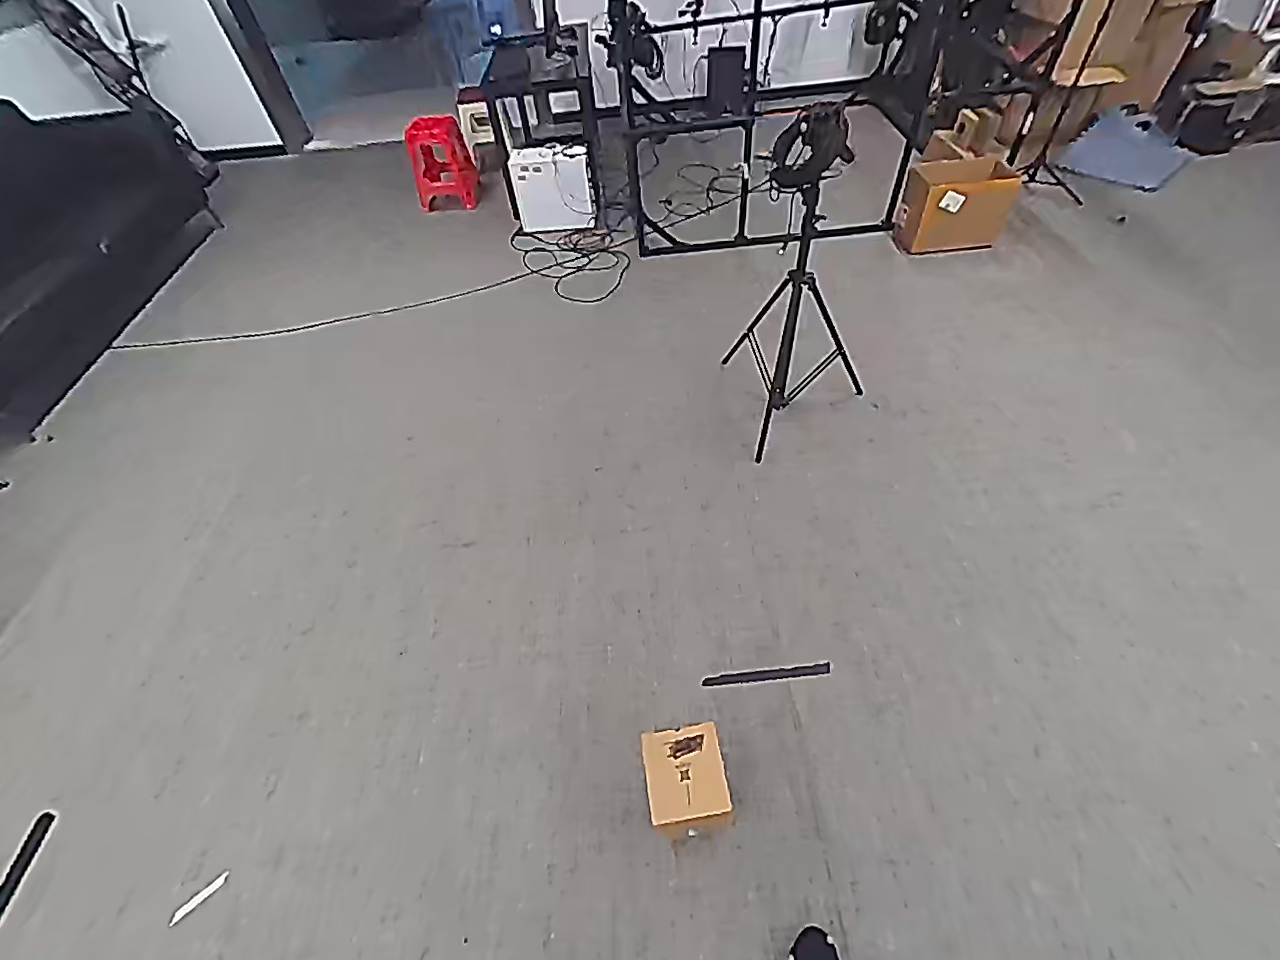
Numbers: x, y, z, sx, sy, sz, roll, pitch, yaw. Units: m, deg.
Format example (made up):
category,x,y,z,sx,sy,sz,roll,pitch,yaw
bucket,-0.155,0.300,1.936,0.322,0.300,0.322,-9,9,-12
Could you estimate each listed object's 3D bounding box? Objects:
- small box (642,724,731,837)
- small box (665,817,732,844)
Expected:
category,x,y,z,sx,sy,sz,roll,pitch,yaw
small box,0.099,0.665,1.194,0.168,0.176,0.179,-10,51,-1
small box,0.119,0.764,1.322,0.168,0.176,0.179,-11,50,-2
